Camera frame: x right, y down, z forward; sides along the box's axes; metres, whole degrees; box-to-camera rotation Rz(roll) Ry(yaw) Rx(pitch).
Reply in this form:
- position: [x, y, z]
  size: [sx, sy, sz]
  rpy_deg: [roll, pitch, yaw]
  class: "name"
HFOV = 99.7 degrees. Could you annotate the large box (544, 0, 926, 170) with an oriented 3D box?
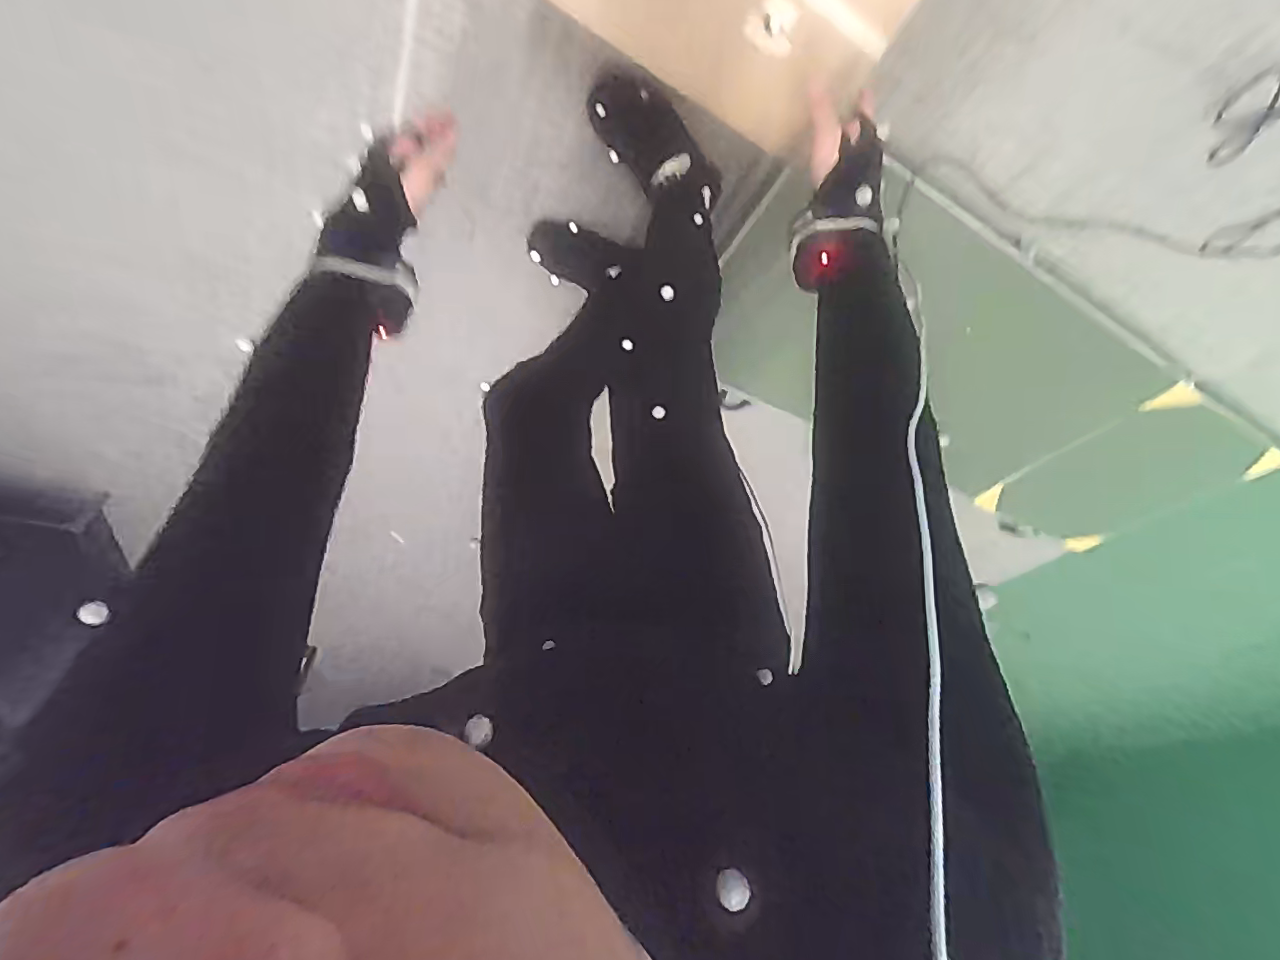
- position: [0.125, -0.696, 0.688]
  size: [0.408, 0.320, 0.320]
  rpy_deg: [20, 137, -22]
  class: "large box"
